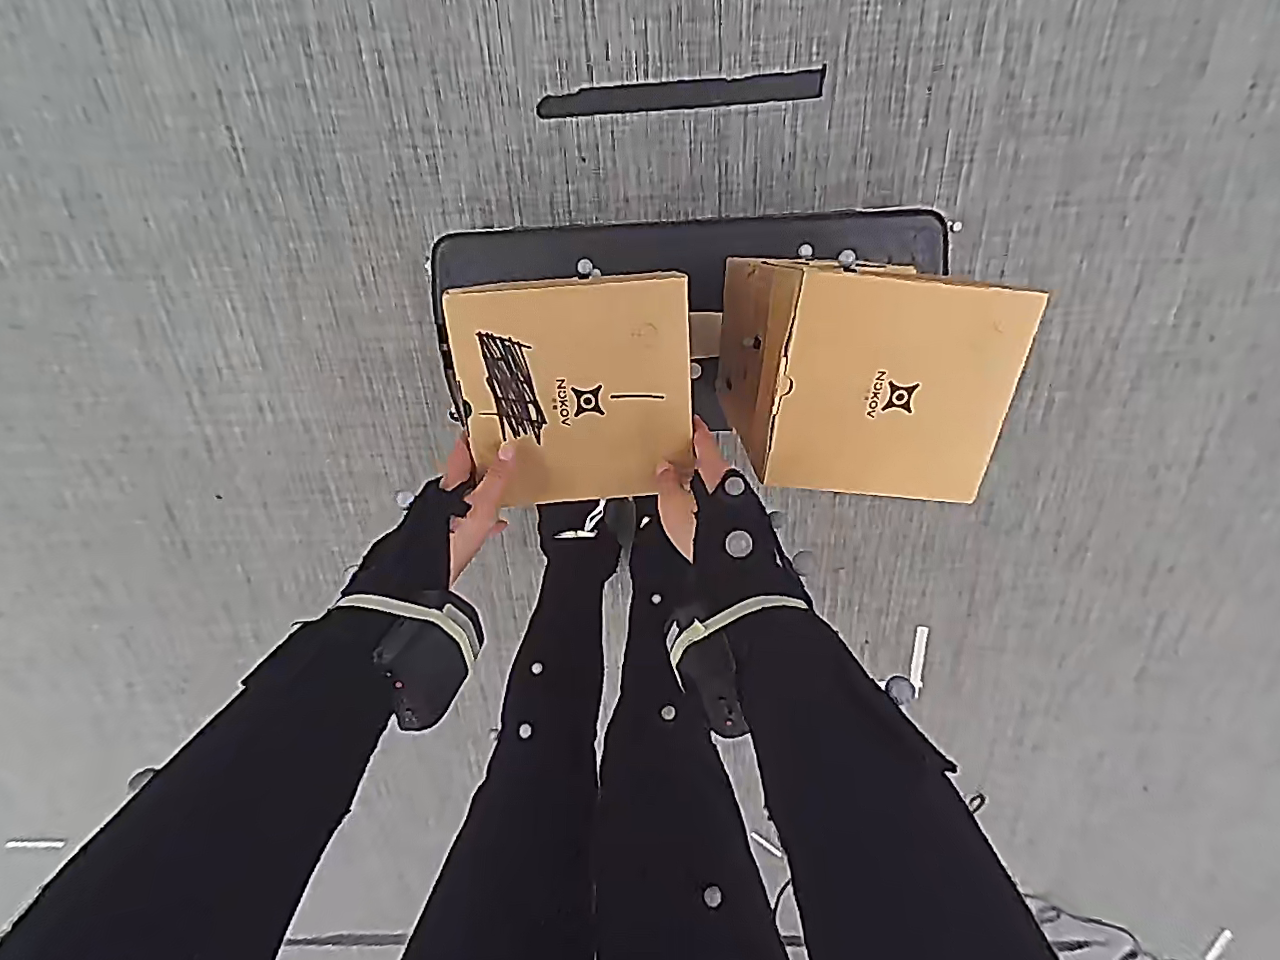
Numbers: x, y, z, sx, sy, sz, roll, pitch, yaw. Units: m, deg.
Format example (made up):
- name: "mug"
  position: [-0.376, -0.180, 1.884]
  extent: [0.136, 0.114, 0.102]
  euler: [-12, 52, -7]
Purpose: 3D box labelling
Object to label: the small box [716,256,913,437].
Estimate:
- name: "small box"
  position: [0.182, -0.162, 0.628]
  extent: [0.168, 0.176, 0.179]
  euler: [2, 113, 0]
